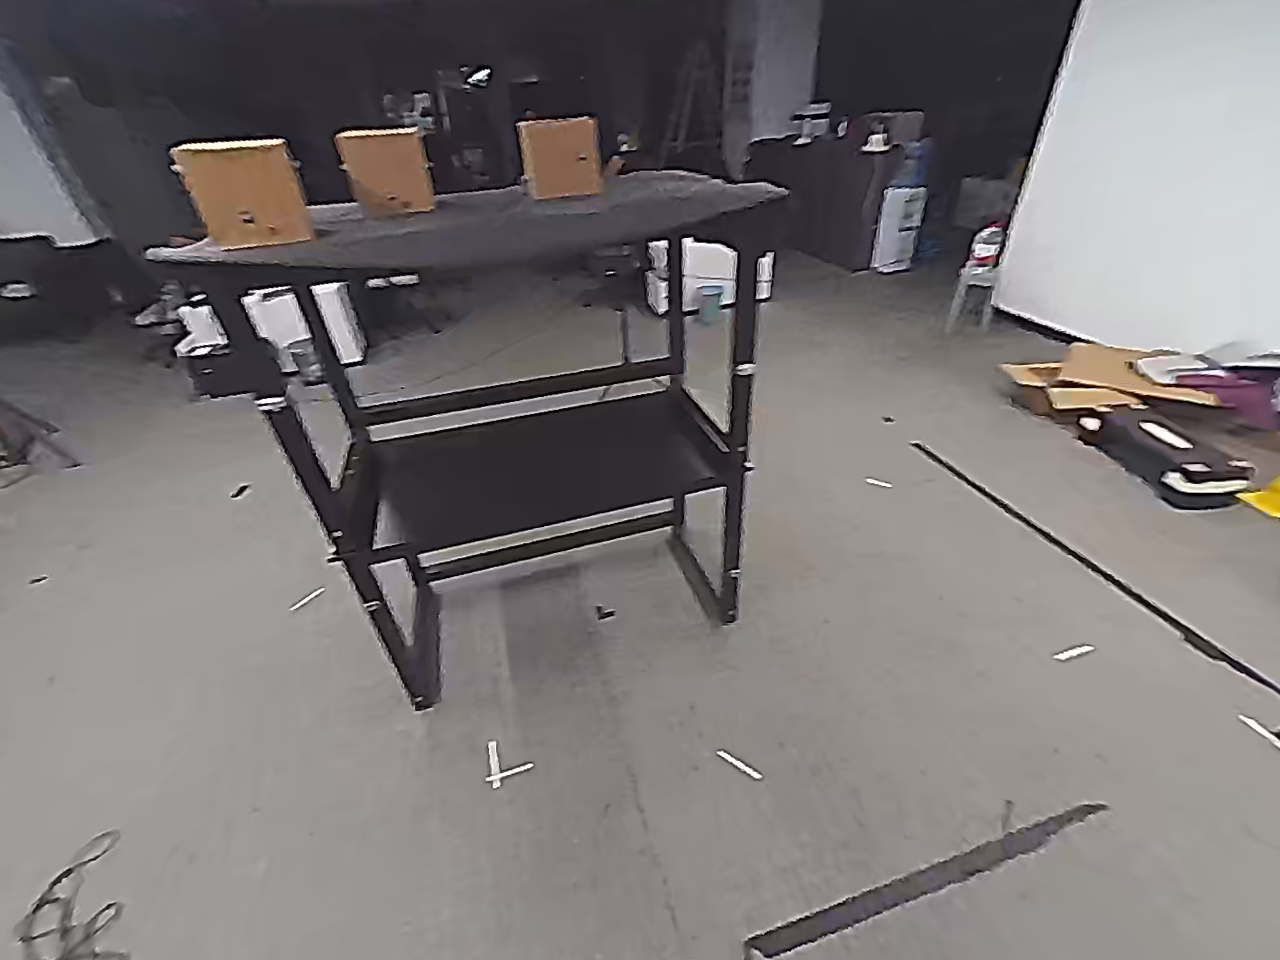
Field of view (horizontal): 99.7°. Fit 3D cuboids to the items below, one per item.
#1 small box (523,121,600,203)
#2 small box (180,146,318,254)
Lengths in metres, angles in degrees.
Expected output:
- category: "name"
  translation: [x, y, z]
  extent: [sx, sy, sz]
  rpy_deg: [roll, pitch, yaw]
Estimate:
- category: "small box"
  translation: [-0.203, -0.837, 1.419]
  extent: [0.179, 0.176, 0.168]
  rpy_deg: [-11, 35, -10]
- category: "small box"
  translation: [-0.759, -0.557, 1.071]
  extent: [0.168, 0.176, 0.179]
  rpy_deg: [-17, 38, -20]
